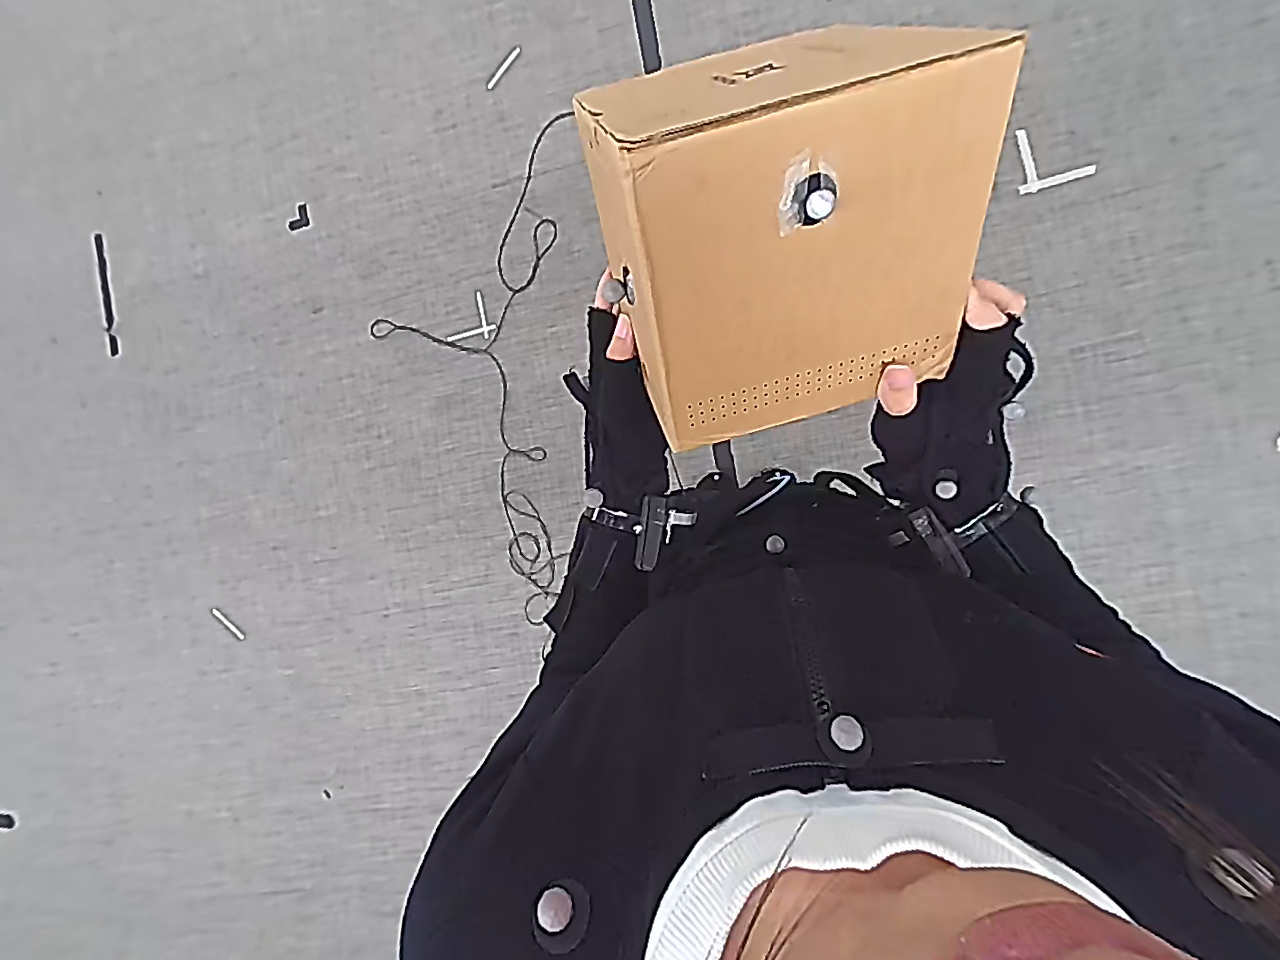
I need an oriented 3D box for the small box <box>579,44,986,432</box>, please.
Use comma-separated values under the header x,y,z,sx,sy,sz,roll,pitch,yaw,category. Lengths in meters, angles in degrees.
x,y,z,sx,sy,sz,roll,pitch,yaw,category
0.073,-0.153,0.348,0.179,0.168,0.176,-15,132,-1,small box
